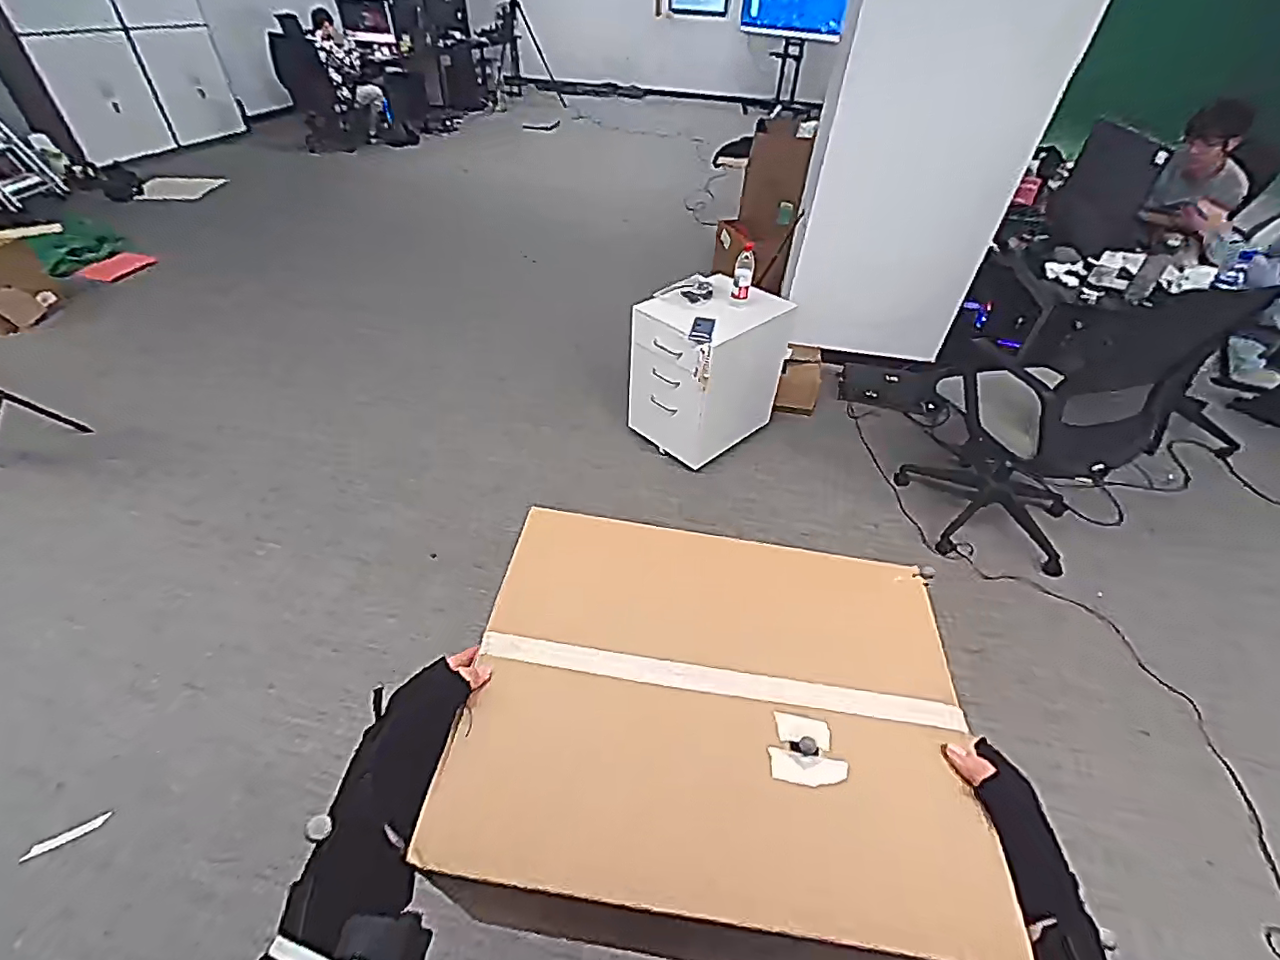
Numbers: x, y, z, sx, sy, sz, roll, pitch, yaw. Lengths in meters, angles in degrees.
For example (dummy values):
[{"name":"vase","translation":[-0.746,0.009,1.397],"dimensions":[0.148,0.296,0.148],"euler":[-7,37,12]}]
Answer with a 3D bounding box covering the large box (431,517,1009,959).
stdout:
[{"name":"large box","translation":[0.053,0.276,0.570],"dimensions":[0.408,0.320,0.320],"euler":[9,47,1]}]
